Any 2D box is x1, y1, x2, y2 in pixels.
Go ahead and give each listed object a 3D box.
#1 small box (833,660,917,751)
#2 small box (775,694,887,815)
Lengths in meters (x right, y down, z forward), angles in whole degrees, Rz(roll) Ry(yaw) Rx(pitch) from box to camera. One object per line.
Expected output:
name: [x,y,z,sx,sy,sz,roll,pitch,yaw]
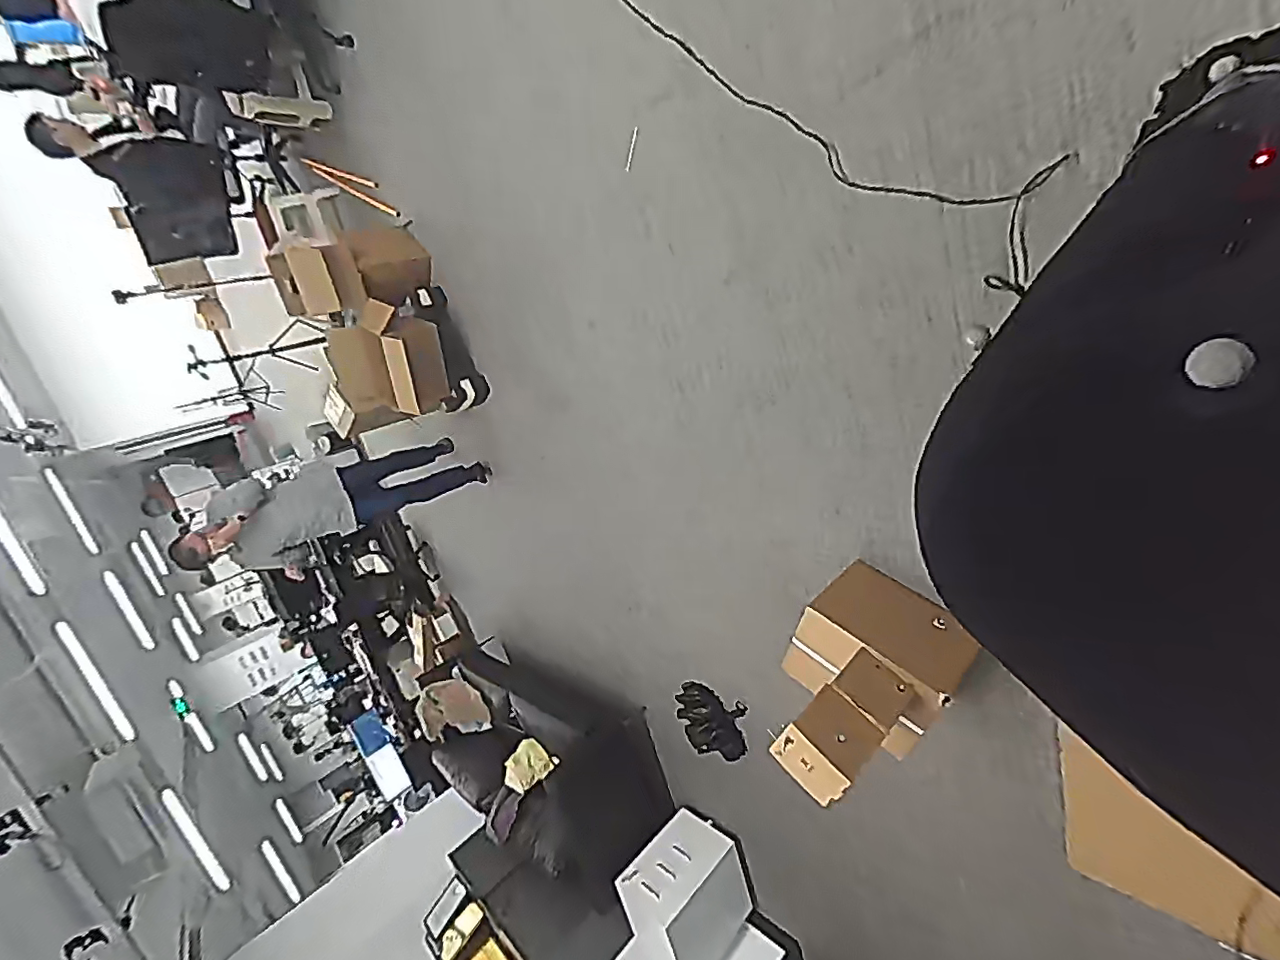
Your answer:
small box: [0.595,0.611,1.422,0.168,0.176,0.179,40,137,29]
small box: [0.472,0.672,1.337,0.179,0.176,0.168,39,138,31]
